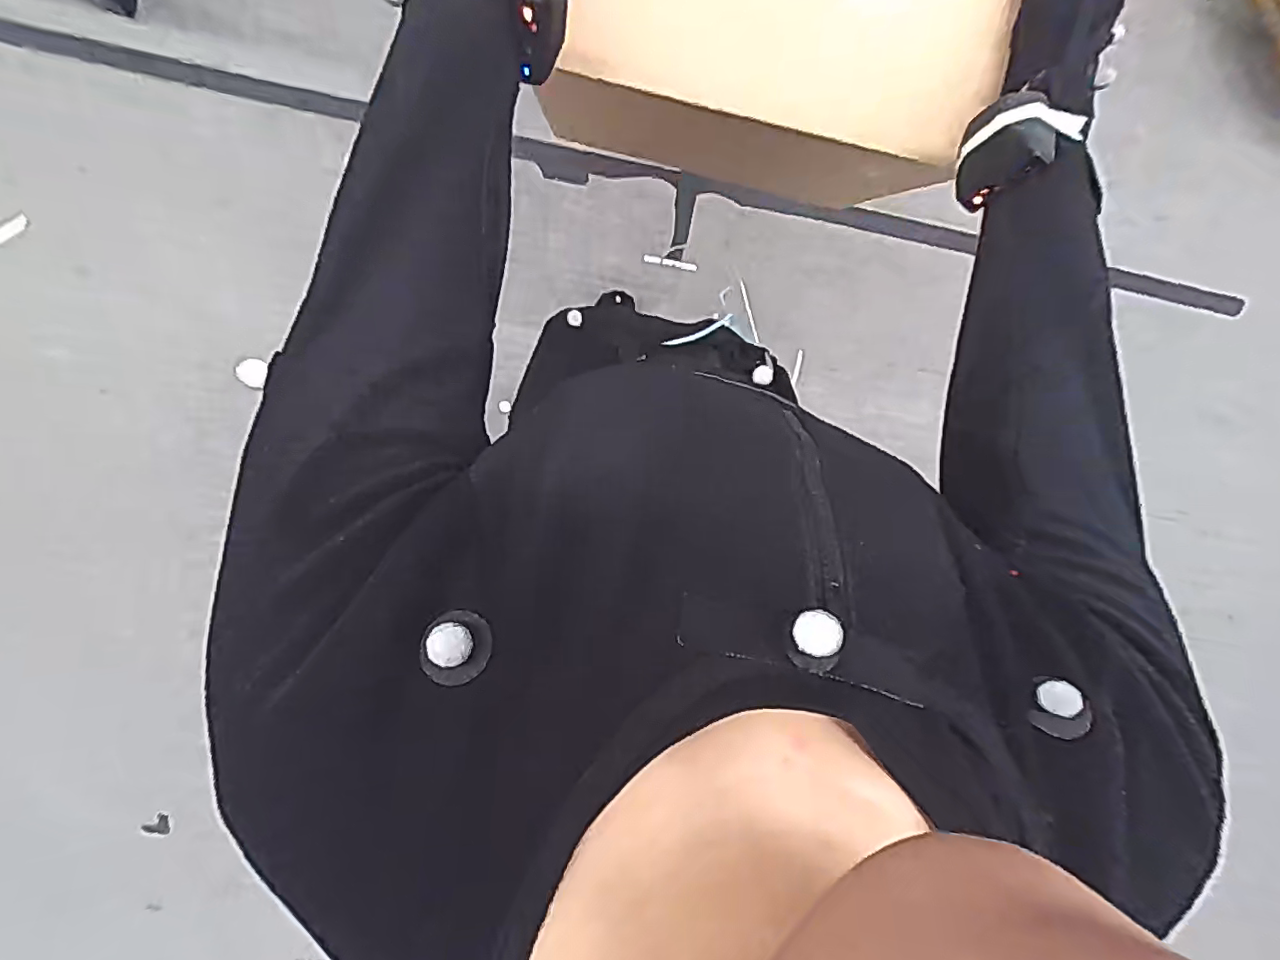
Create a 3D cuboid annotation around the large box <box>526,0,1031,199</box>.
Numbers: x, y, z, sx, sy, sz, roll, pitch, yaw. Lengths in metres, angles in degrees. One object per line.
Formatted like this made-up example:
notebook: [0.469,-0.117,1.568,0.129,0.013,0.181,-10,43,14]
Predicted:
large box: [0.121,-0.507,0.542,0.408,0.320,0.320,10,112,-7]
